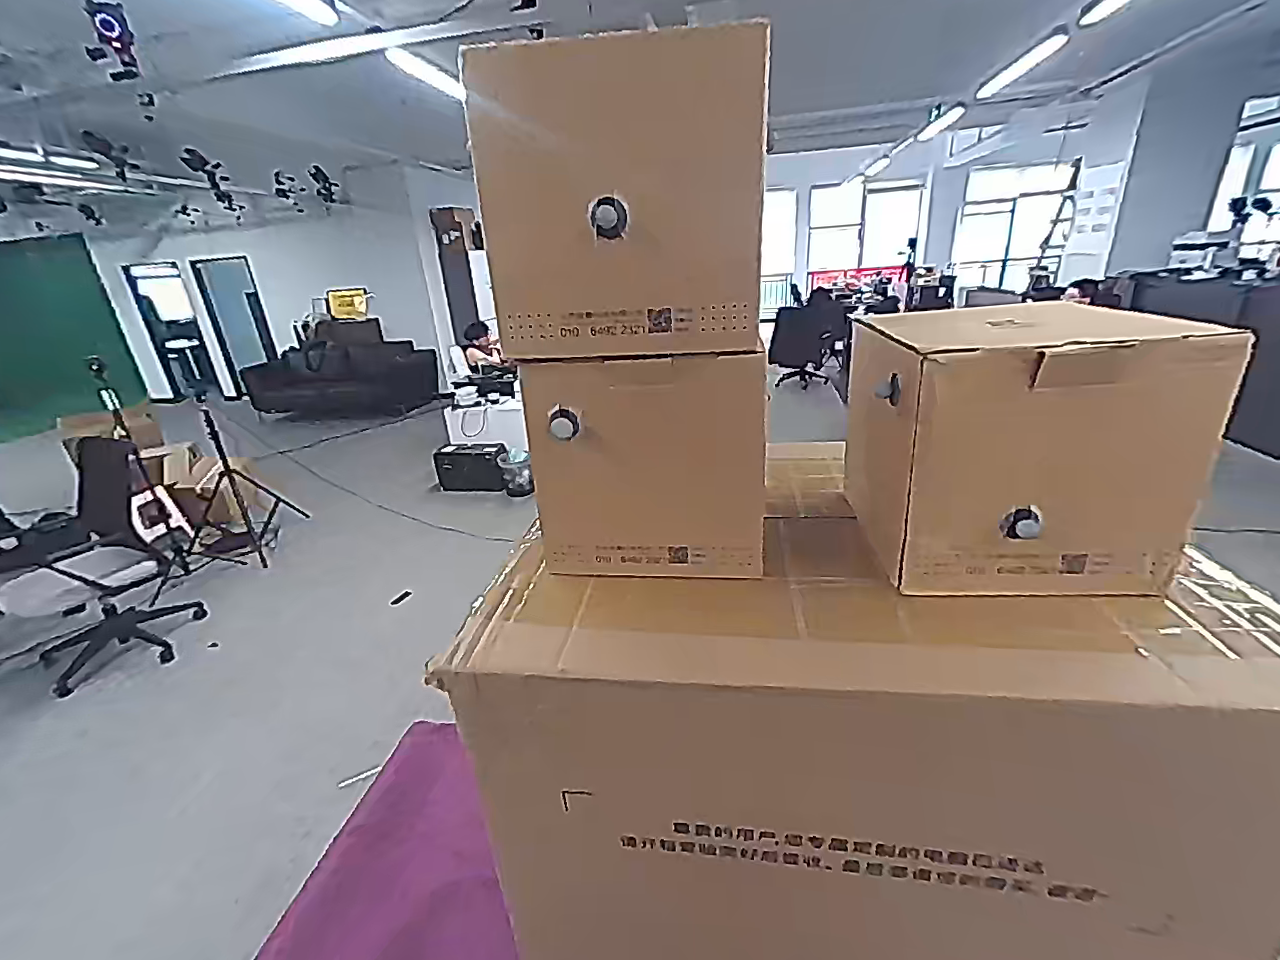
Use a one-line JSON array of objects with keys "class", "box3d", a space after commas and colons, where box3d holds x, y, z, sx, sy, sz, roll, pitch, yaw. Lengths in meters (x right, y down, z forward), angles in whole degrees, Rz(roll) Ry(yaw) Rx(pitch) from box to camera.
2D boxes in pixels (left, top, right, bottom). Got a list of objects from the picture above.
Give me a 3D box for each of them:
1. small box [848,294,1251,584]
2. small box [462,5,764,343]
[{"class": "small box", "box3d": [0.262, -0.040, 0.405, 0.168, 0.176, 0.179, -3, 23, 8]}, {"class": "small box", "box3d": [-0.003, -0.192, 0.387, 0.168, 0.176, 0.179, 0, 22, 6]}]
